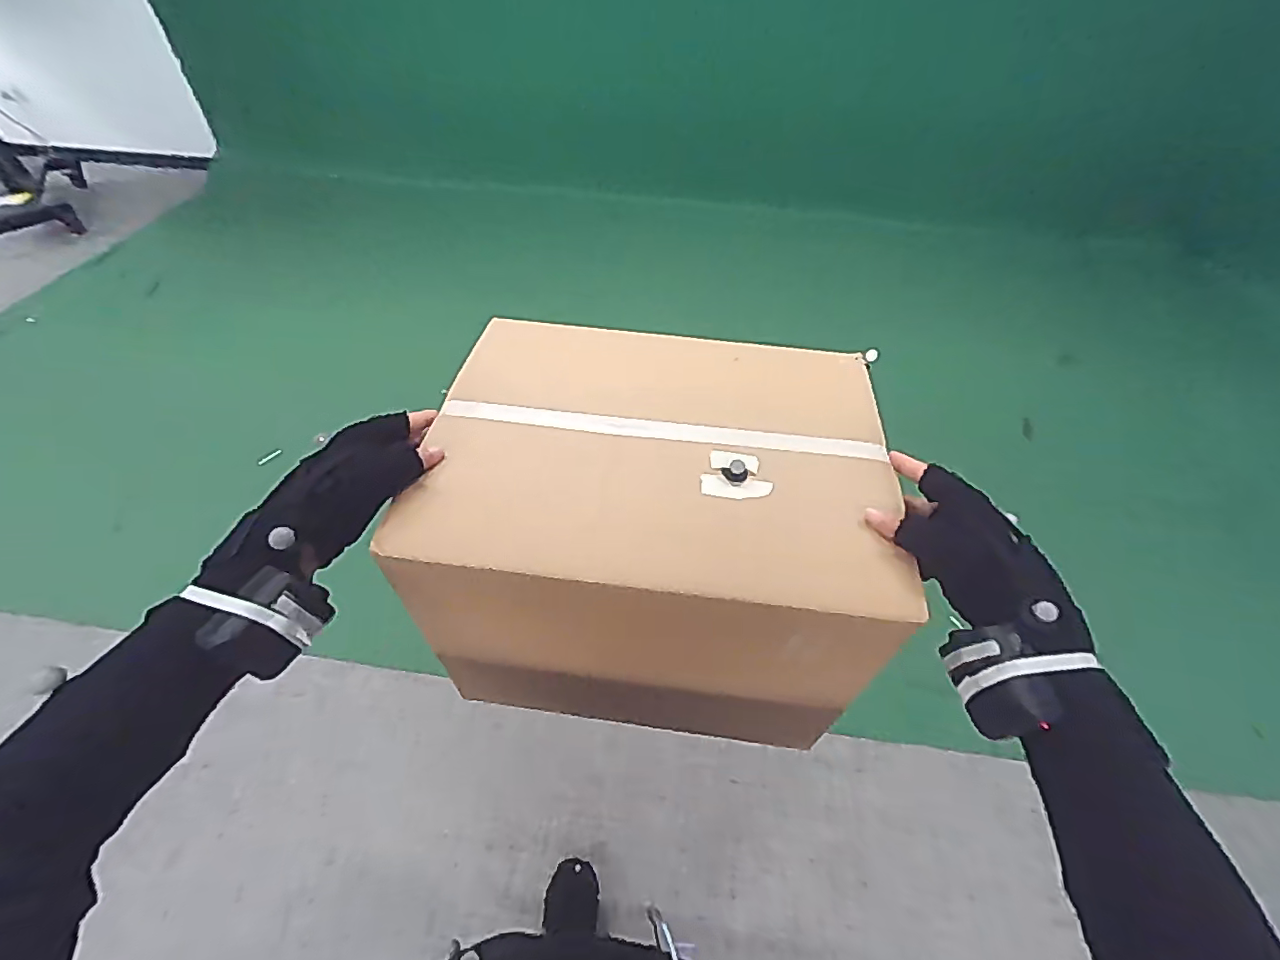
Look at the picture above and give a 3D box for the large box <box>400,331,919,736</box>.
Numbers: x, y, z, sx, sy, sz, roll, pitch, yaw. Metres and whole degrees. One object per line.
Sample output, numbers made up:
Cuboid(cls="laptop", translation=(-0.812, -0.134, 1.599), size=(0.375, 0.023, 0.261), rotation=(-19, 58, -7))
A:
Cuboid(cls="large box", translation=(0.018, 0.063, 0.613), size=(0.408, 0.320, 0.320), rotation=(7, 49, 2))
